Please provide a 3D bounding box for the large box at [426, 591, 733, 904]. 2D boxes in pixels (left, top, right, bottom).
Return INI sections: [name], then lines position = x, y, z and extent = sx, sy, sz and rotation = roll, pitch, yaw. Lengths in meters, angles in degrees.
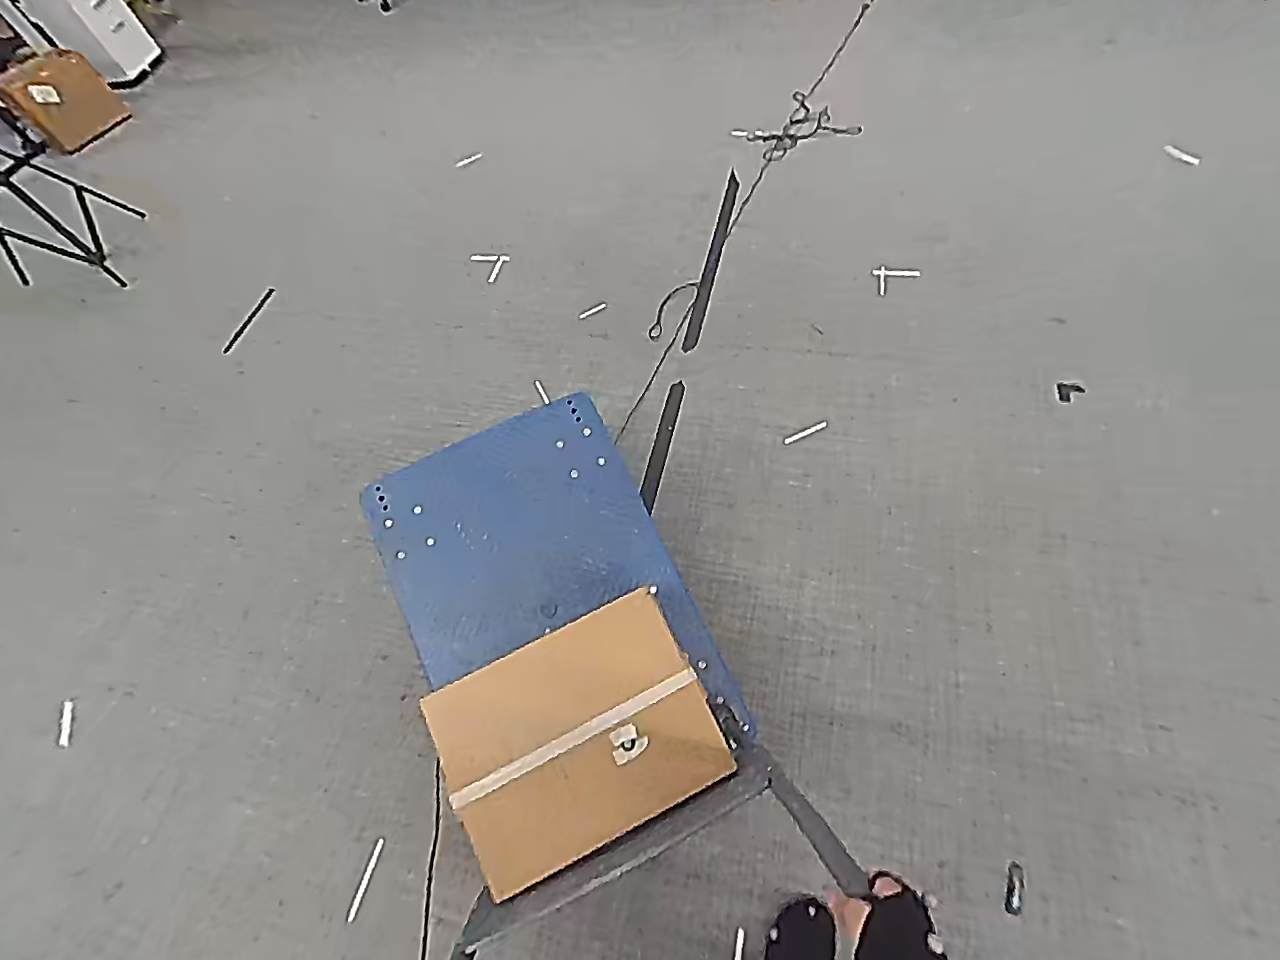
[large box]
position = -0.100, 0.440, 0.986
extent = 0.408, 0.320, 0.320
rotation = -26, 78, -8
